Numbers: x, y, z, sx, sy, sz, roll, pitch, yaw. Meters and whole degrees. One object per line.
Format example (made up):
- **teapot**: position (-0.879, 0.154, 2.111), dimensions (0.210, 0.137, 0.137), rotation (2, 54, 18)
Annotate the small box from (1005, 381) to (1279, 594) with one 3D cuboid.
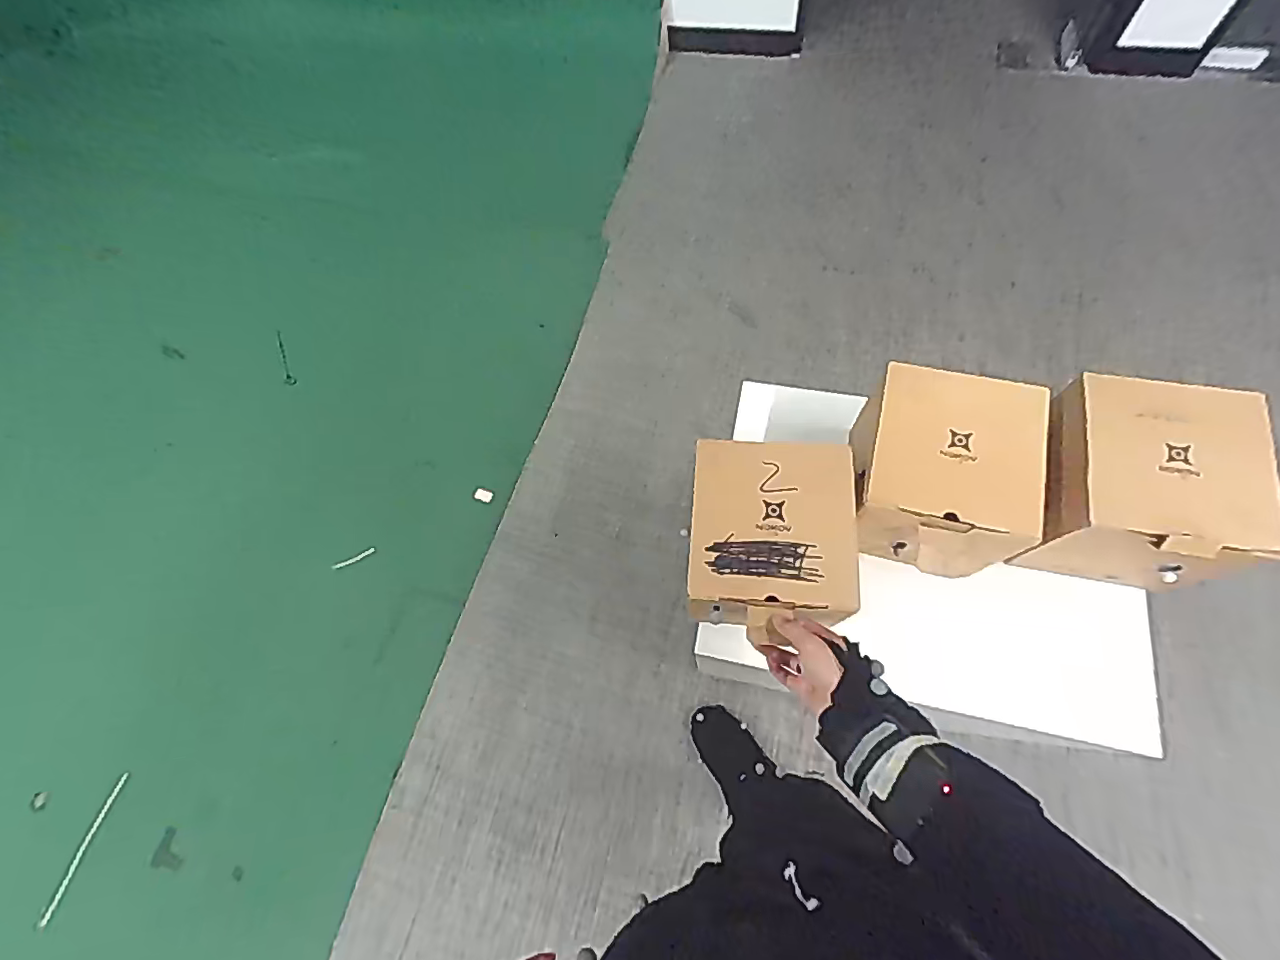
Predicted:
- **small box**: position (0.535, 0.017, 0.600), dimensions (0.168, 0.176, 0.179), rotation (10, 69, 10)
